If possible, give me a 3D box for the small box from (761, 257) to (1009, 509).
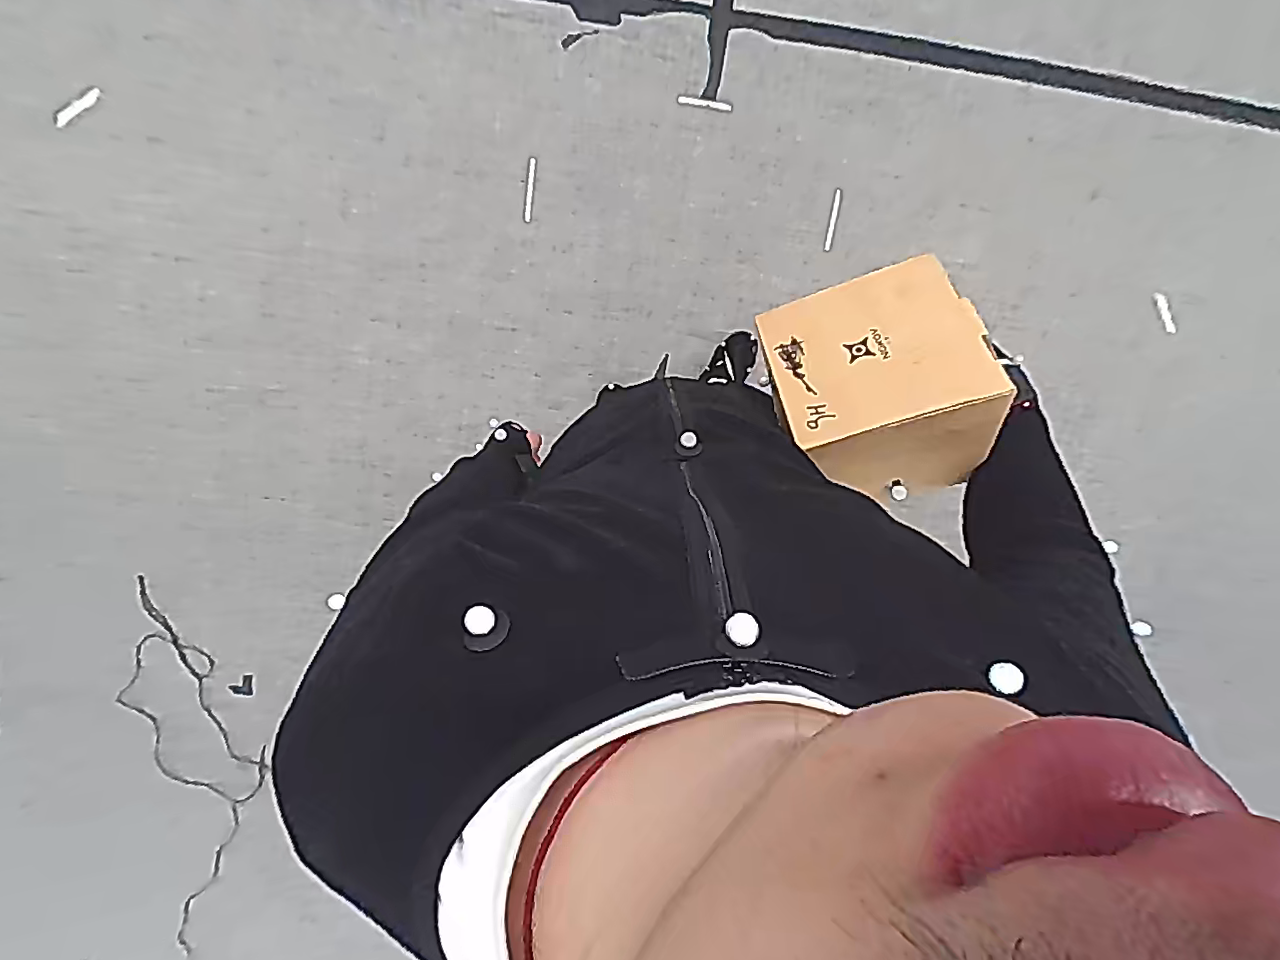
[{"bbox_3d":[0.240,-0.089,0.569,0.179,0.176,0.168,-16,59,14],"label":"small box"}]
